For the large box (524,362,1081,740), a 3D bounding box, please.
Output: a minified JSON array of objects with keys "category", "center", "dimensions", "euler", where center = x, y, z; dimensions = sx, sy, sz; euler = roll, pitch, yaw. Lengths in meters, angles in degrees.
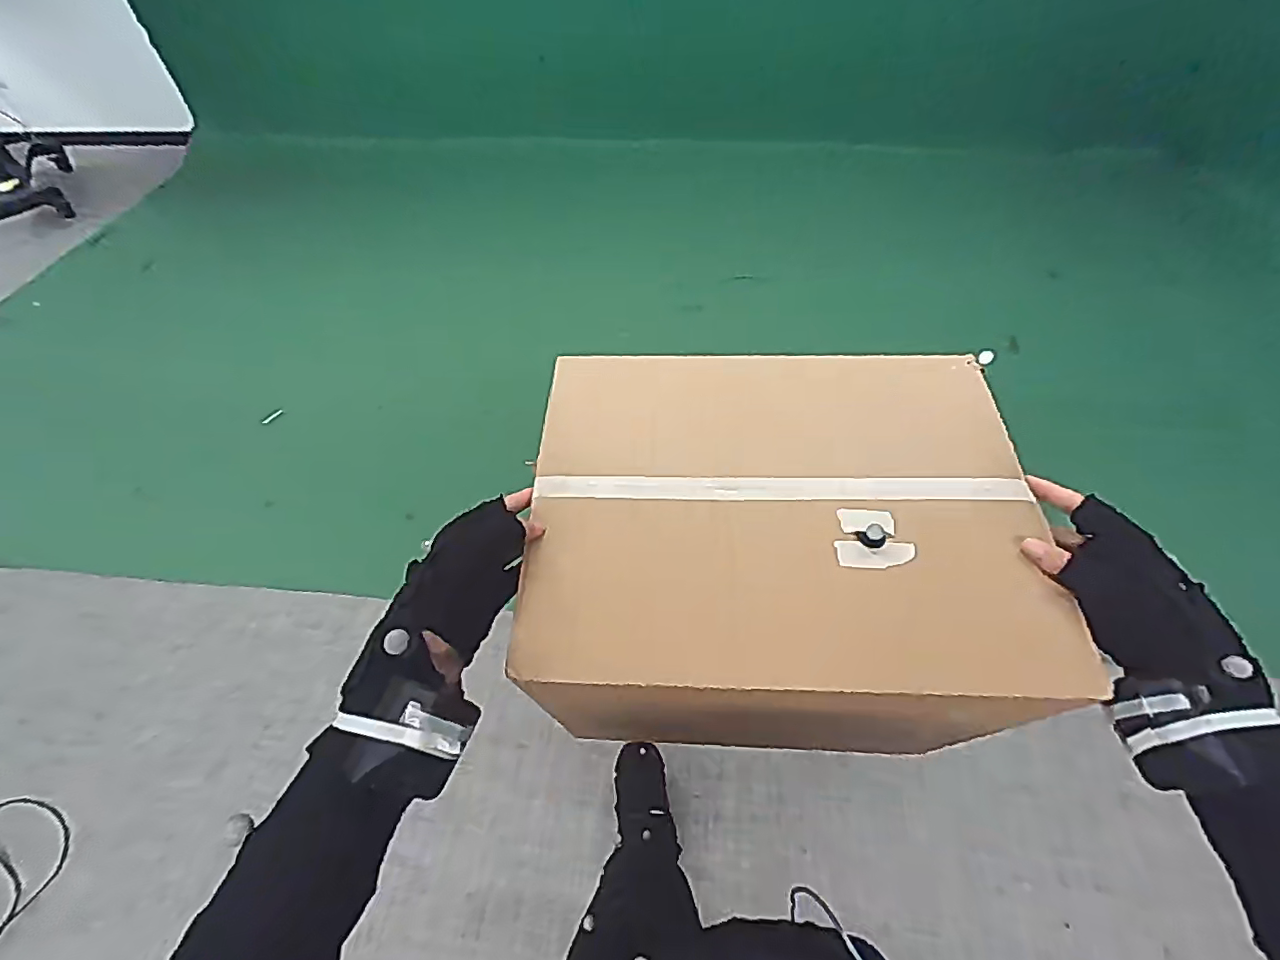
[{"category":"large box","center":[0.119,0.094,0.589],"dimensions":[0.408,0.320,0.320],"euler":[0,58,3]}]
